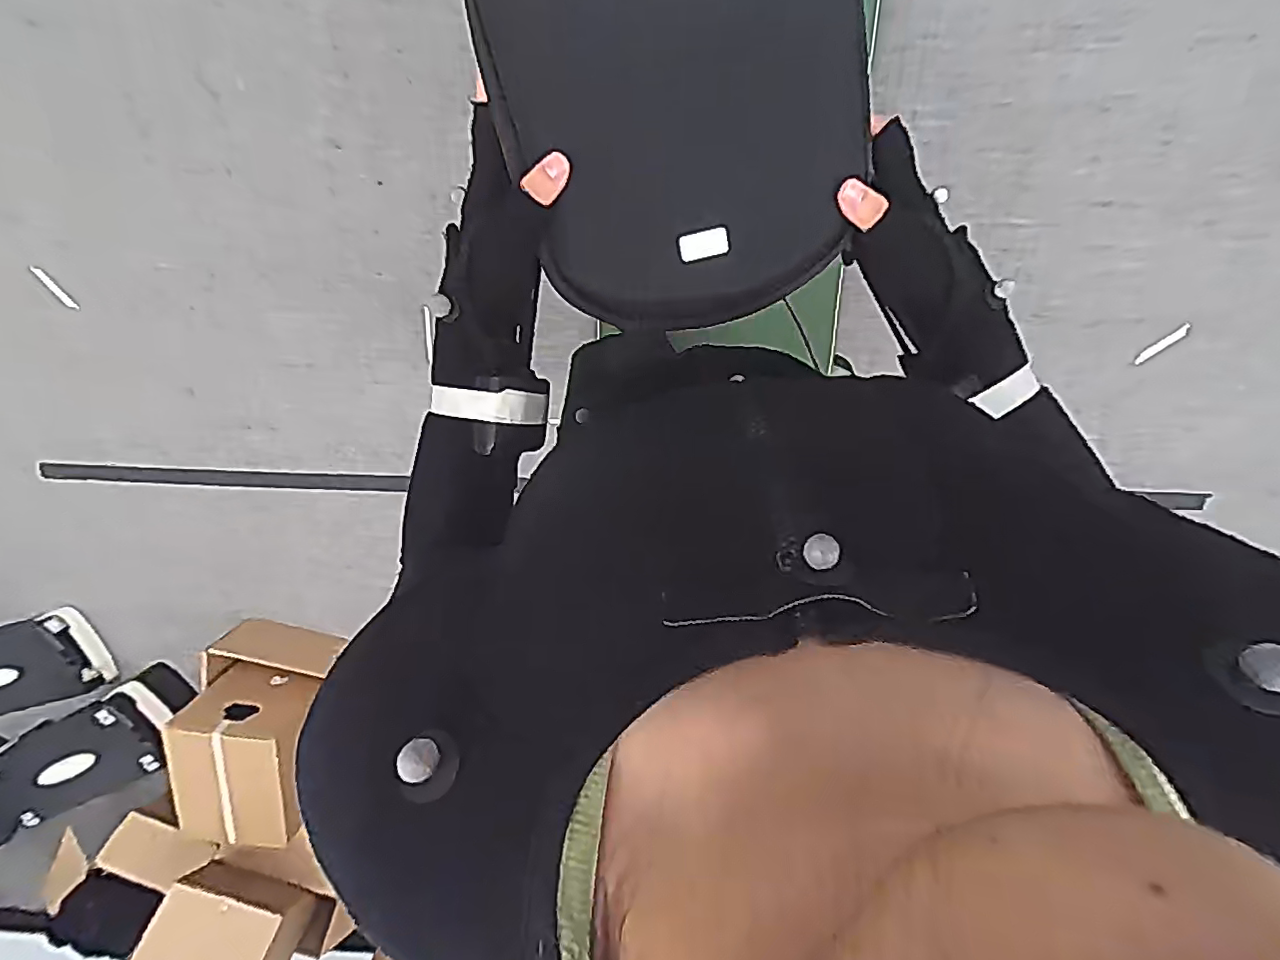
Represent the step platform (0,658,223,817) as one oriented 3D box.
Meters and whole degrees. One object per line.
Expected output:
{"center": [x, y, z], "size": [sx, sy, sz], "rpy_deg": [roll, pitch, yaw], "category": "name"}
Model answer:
{"center": [-1.799, 0.869, 1.820], "size": [0.684, 0.204, 0.286], "rpy_deg": [-26, 105, 10], "category": "step platform"}
